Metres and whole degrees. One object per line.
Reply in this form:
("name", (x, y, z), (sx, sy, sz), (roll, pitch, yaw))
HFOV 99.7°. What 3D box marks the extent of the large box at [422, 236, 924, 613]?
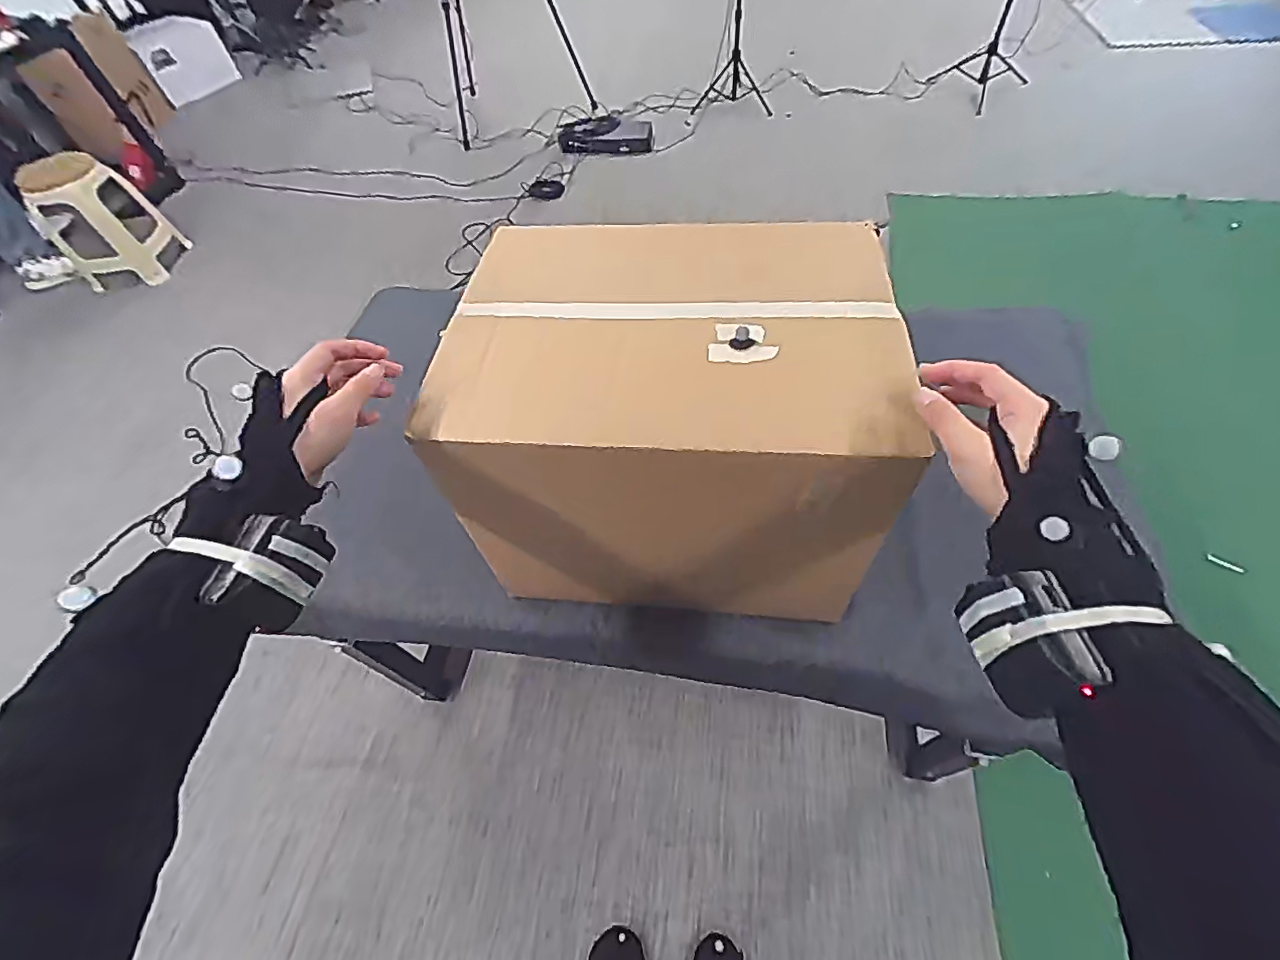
("large box", (0.037, -0.058, 0.627), (0.408, 0.320, 0.320), (3, 54, 6))
